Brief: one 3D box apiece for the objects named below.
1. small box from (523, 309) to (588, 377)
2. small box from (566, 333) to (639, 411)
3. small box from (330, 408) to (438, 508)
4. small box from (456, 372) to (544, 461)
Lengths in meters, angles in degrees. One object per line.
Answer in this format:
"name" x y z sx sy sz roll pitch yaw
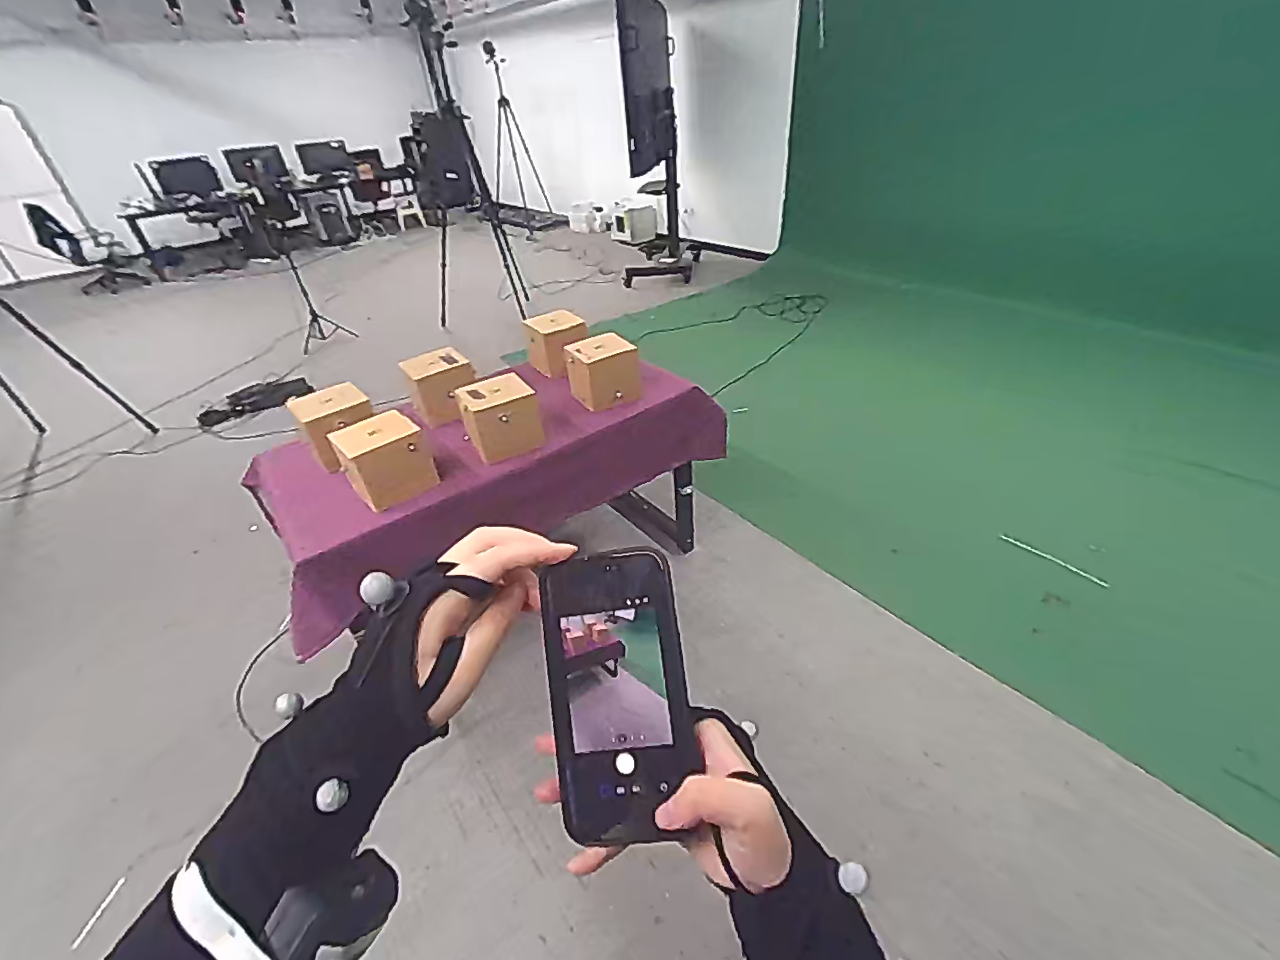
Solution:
"small box" -0.293 -0.484 1.910 0.168 0.176 0.179 -25 42 -24
"small box" -0.115 -0.340 1.696 0.179 0.176 0.168 -22 39 -22
"small box" -0.642 -0.054 1.369 0.179 0.176 0.168 -31 43 -33
"small box" -0.386 -0.176 1.503 0.179 0.176 0.168 -22 40 -23
